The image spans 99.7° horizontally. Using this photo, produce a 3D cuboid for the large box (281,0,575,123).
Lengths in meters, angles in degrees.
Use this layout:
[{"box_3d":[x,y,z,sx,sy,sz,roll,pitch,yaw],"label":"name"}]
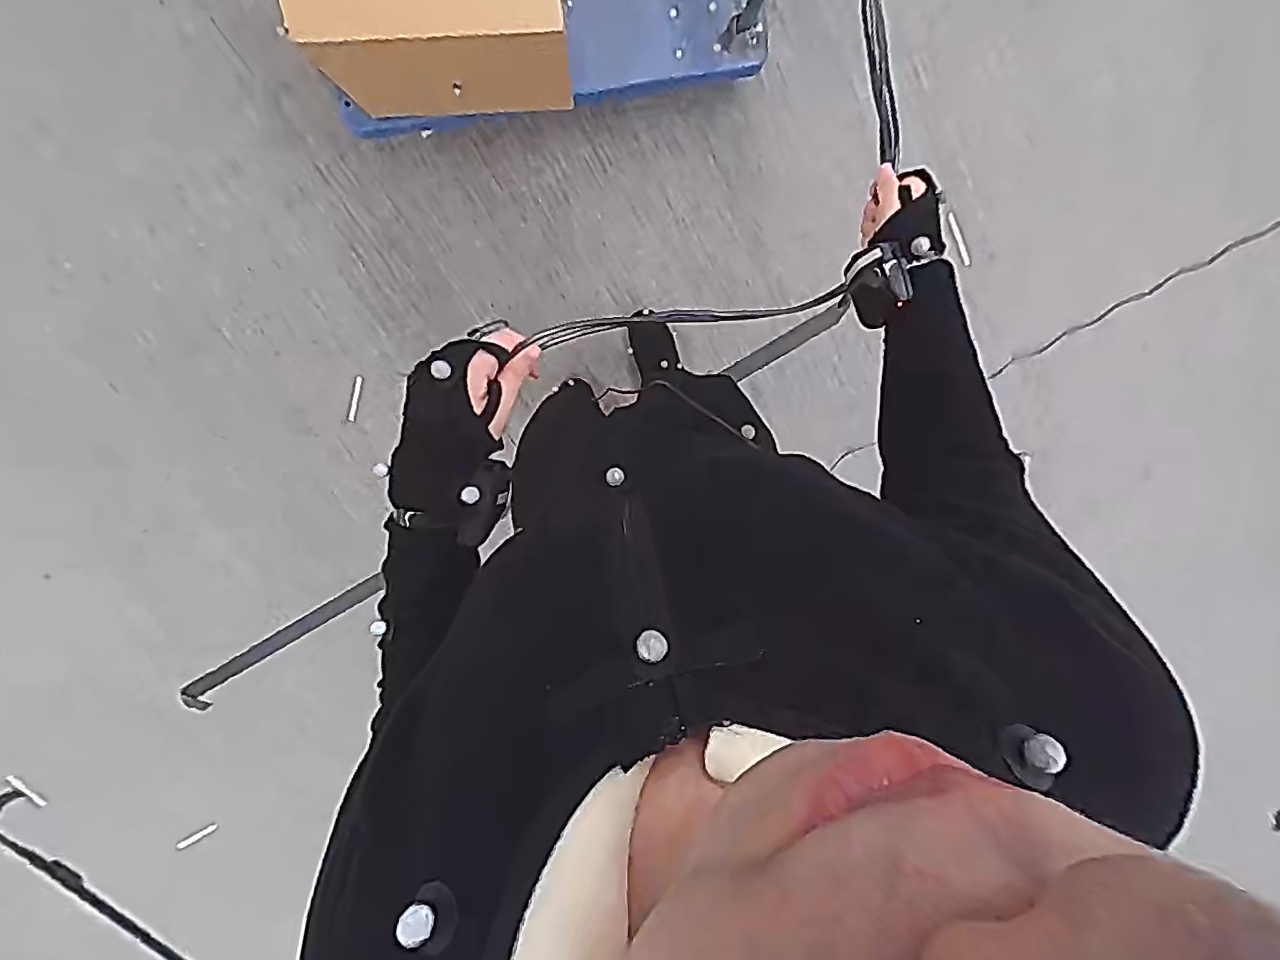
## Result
[{"box_3d":[-0.331,-0.828,0.899,0.408,0.320,0.320,-5,106,-2],"label":"large box"}]
